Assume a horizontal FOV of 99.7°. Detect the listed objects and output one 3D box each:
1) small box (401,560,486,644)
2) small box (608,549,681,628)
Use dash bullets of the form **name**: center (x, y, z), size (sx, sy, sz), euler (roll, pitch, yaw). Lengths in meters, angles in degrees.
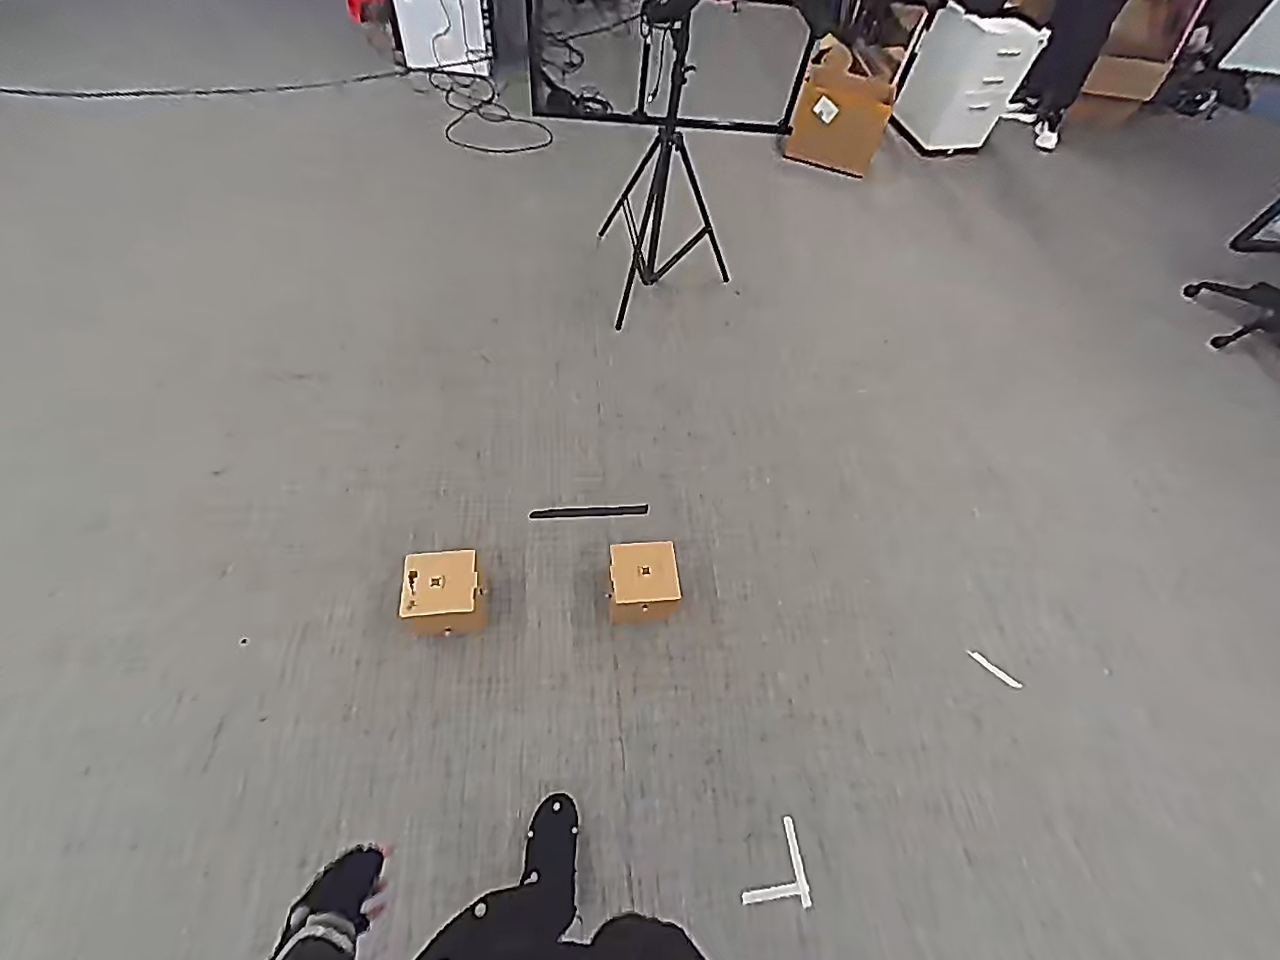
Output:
- **small box**: center (-0.502, 0.319, 1.409), size (0.179, 0.176, 0.168), euler (-2, 58, -9)
- **small box**: center (0.004, 0.301, 1.483), size (0.179, 0.176, 0.168), euler (-2, 59, -9)
